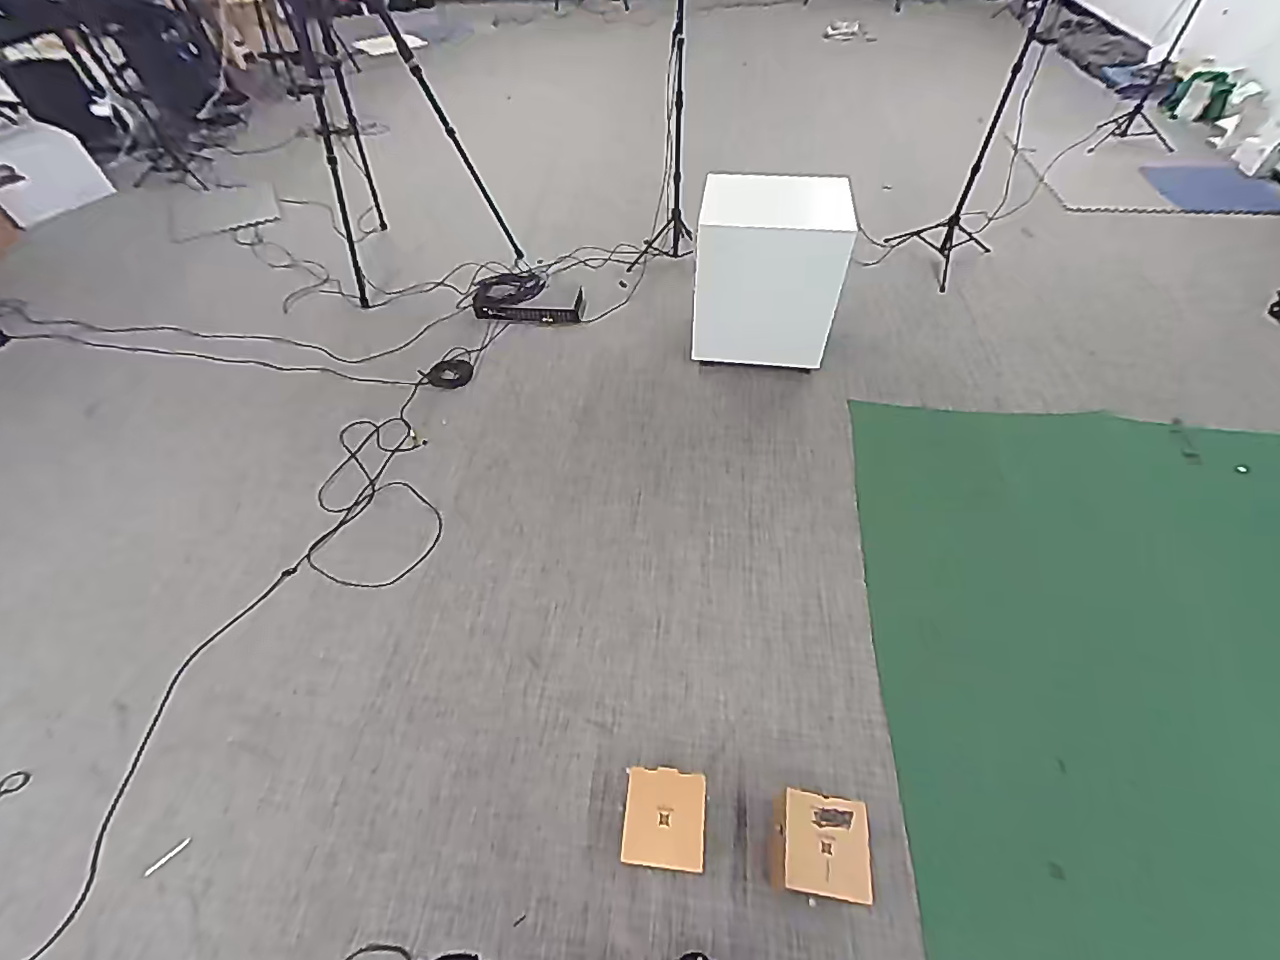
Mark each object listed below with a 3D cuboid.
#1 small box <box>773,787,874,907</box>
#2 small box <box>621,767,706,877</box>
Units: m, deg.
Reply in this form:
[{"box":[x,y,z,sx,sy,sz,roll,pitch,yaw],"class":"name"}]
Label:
[{"box":[0.378,0.775,1.139,0.168,0.176,0.179,7,52,8],"class":"small box"},{"box":[0.055,0.746,1.175,0.168,0.176,0.179,4,51,5],"class":"small box"}]
